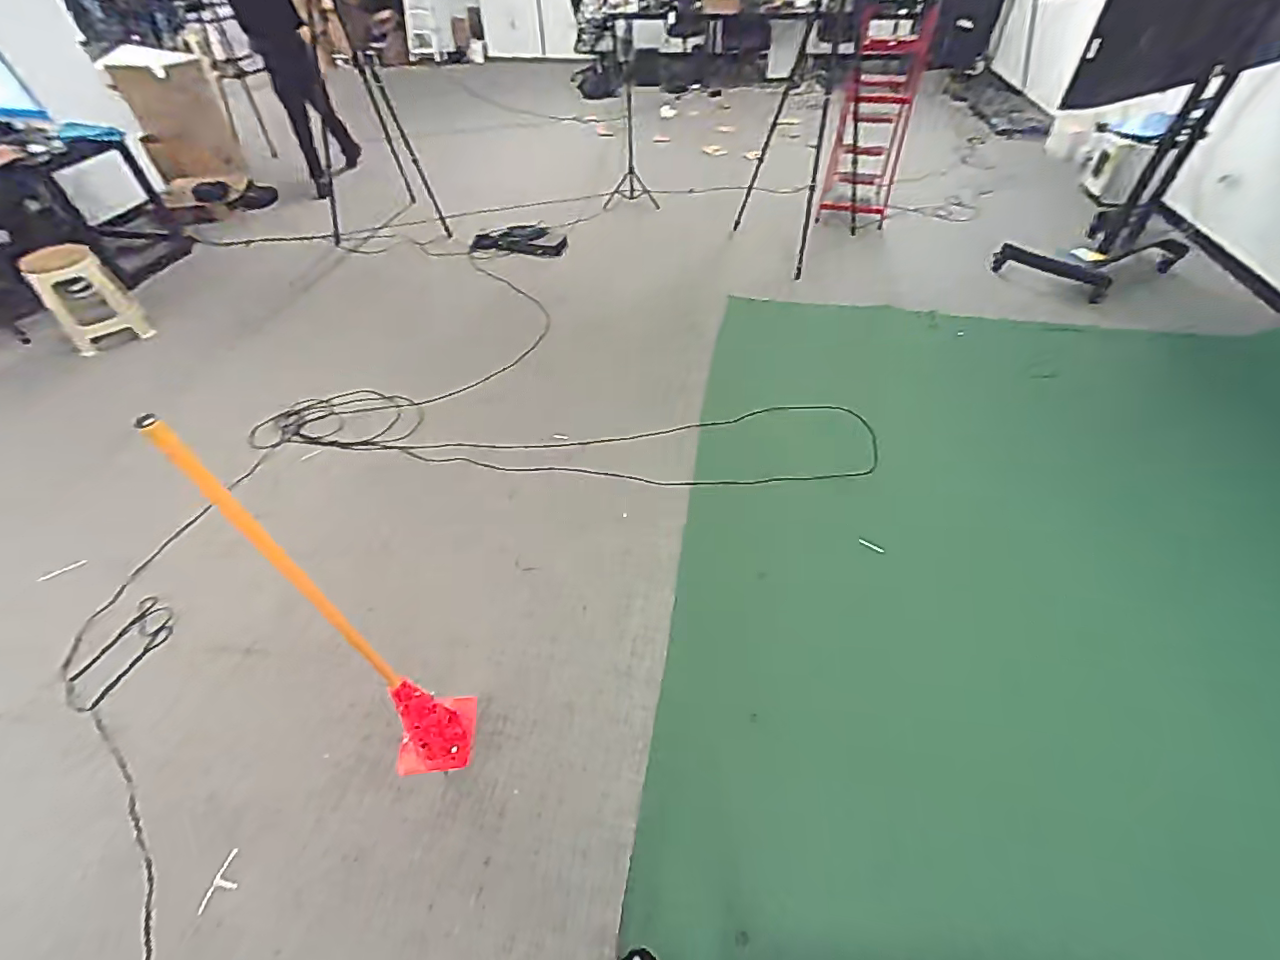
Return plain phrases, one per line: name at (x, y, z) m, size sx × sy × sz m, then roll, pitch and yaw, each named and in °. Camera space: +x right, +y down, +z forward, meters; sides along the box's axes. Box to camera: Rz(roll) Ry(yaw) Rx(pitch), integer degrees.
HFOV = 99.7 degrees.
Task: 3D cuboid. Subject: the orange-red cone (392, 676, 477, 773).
orange-red cone at (-0.574, 0.605, 1.415) m, size 0.198 × 0.360 × 0.199 m, roll -3°, pitch 45°, yaw -2°
